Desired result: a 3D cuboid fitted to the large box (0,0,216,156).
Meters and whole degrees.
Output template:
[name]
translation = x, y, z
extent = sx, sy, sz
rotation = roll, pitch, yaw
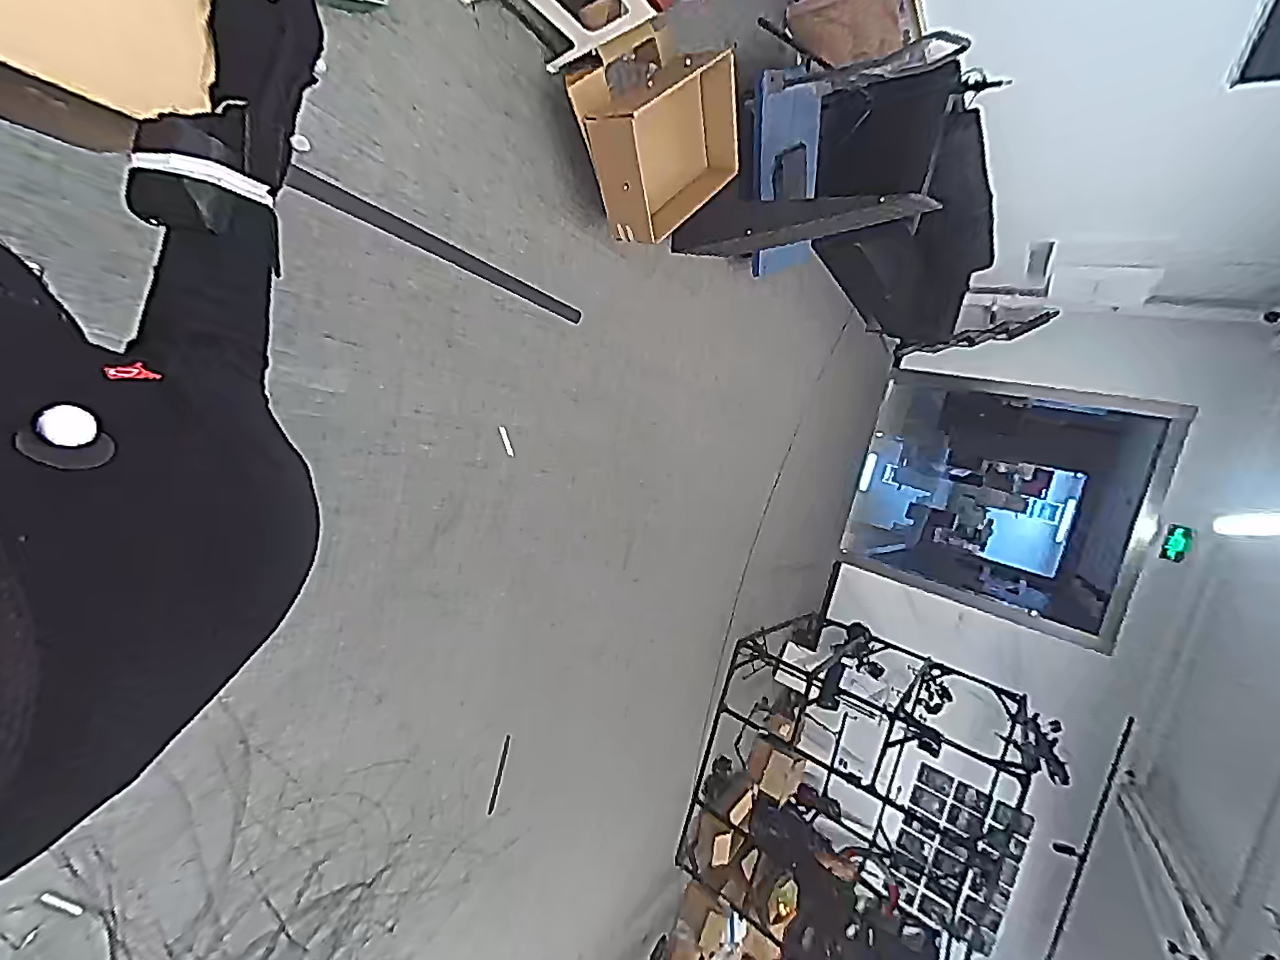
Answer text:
[large box]
translation = -0.517, -0.428, 0.288
extent = 0.408, 0.320, 0.320
rotation = 0, 109, -56
